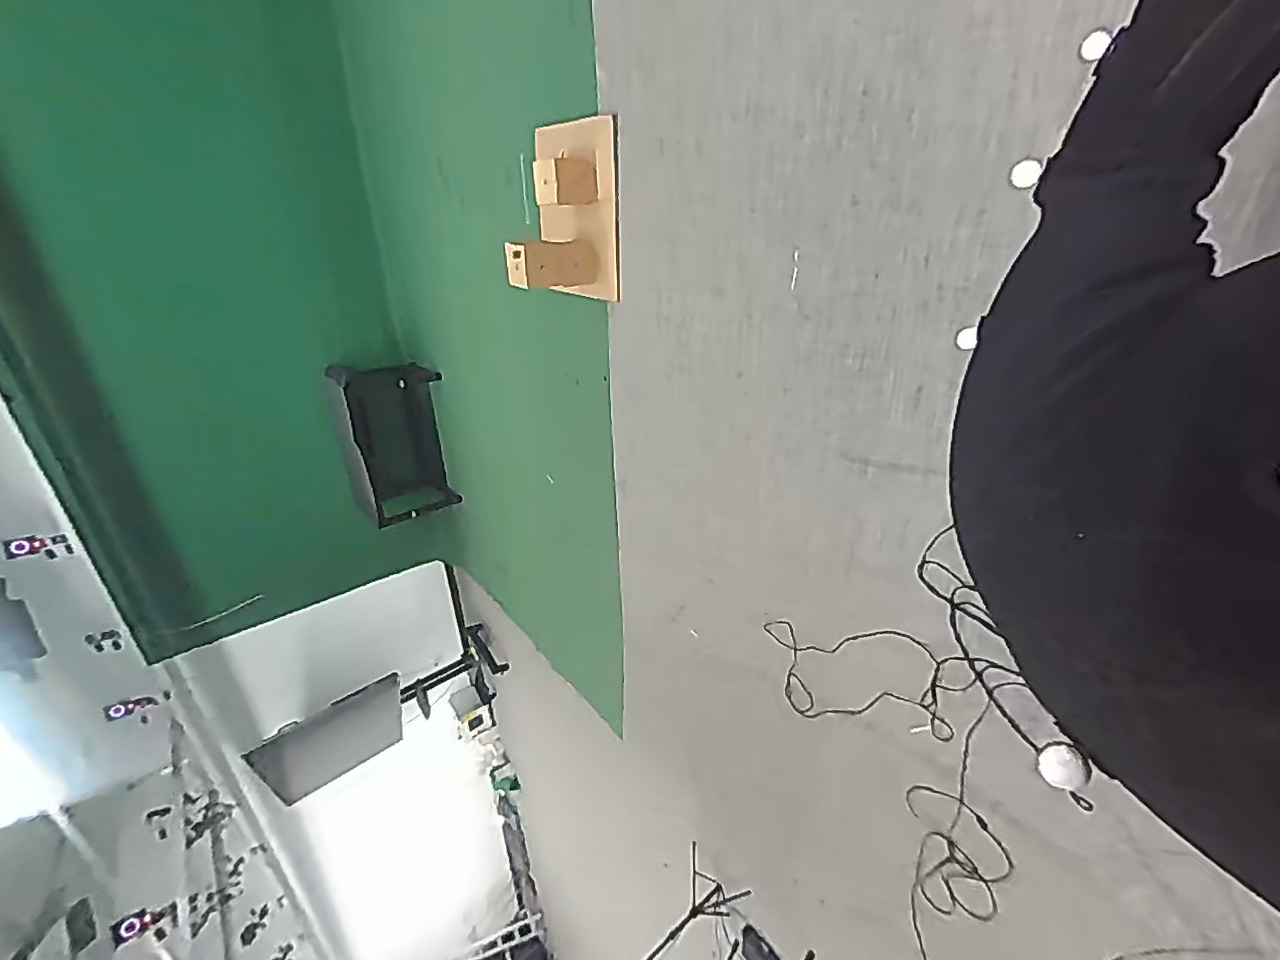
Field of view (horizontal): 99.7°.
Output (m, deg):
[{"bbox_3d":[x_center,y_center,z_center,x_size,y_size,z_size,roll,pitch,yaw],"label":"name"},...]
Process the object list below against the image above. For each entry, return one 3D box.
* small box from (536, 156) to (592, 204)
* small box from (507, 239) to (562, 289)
[{"bbox_3d":[-0.321,-1.265,2.288,0.179,0.176,0.168,26,127,44],"label":"small box"},{"bbox_3d":[-0.451,-0.939,2.337,0.168,0.176,0.179,31,133,42],"label":"small box"}]
